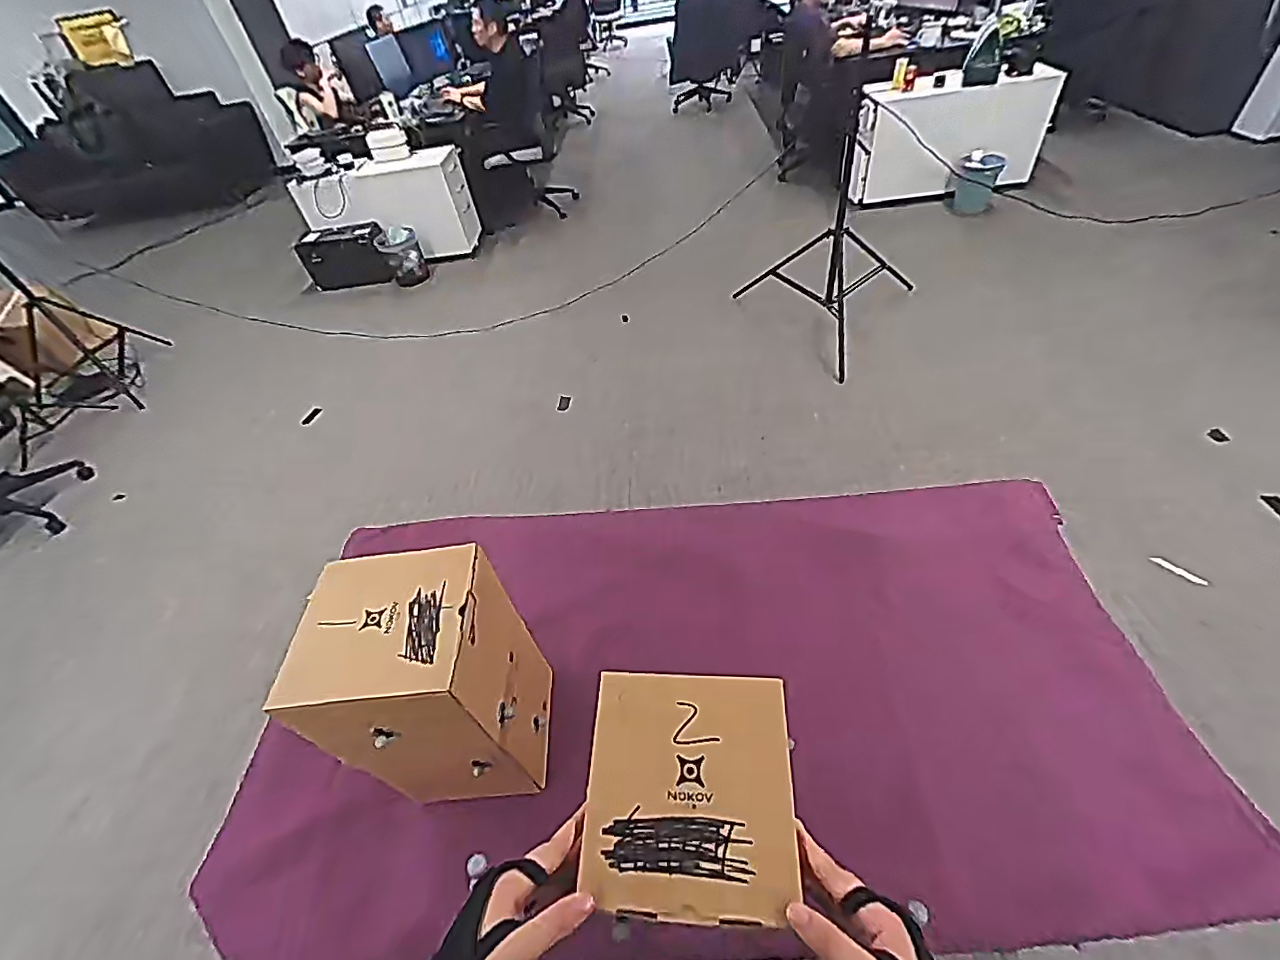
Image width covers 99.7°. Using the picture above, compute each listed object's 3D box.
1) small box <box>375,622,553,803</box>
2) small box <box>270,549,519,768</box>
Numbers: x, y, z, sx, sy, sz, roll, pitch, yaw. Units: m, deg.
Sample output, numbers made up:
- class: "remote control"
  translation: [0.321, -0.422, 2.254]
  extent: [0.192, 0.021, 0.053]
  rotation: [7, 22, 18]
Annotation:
- class: "small box"
  translation: [-0.225, 0.310, 0.714]
  extent: [0.179, 0.176, 0.168]
  rotation: [-7, 45, 2]
- class: "small box"
  translation: [-0.243, 0.198, 0.594]
  extent: [0.179, 0.176, 0.168]
  rotation: [-7, 45, 3]
